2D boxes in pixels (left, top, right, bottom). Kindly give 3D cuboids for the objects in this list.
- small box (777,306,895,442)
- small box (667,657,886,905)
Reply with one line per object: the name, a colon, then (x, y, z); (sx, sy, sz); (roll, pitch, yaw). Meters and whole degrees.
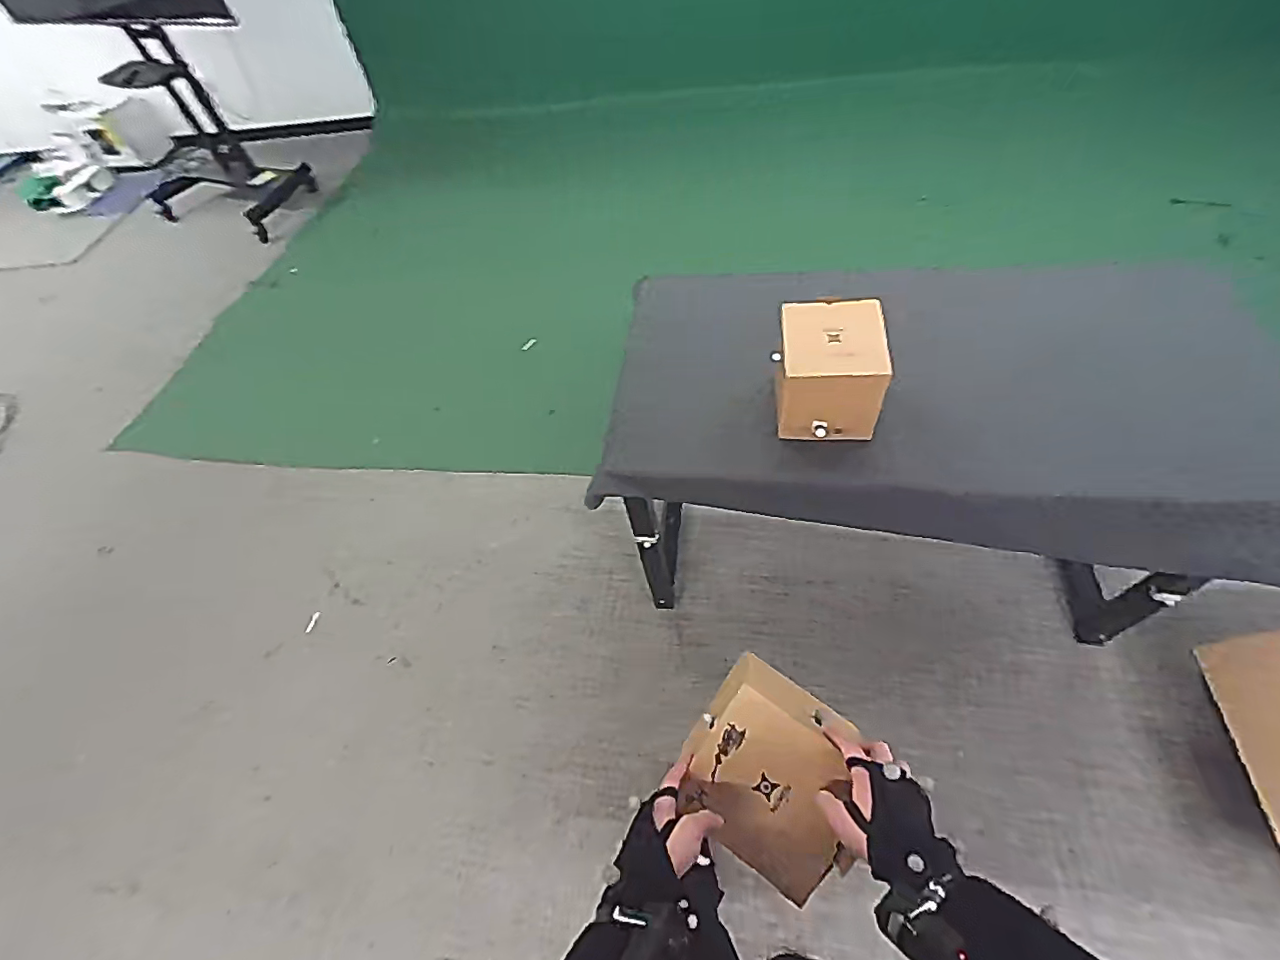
small box: (0.339, -0.188, 0.973); (0.168, 0.176, 0.179); (0, 55, 9)
small box: (0.158, 0.342, 0.660); (0.179, 0.176, 0.168); (34, 91, 13)
